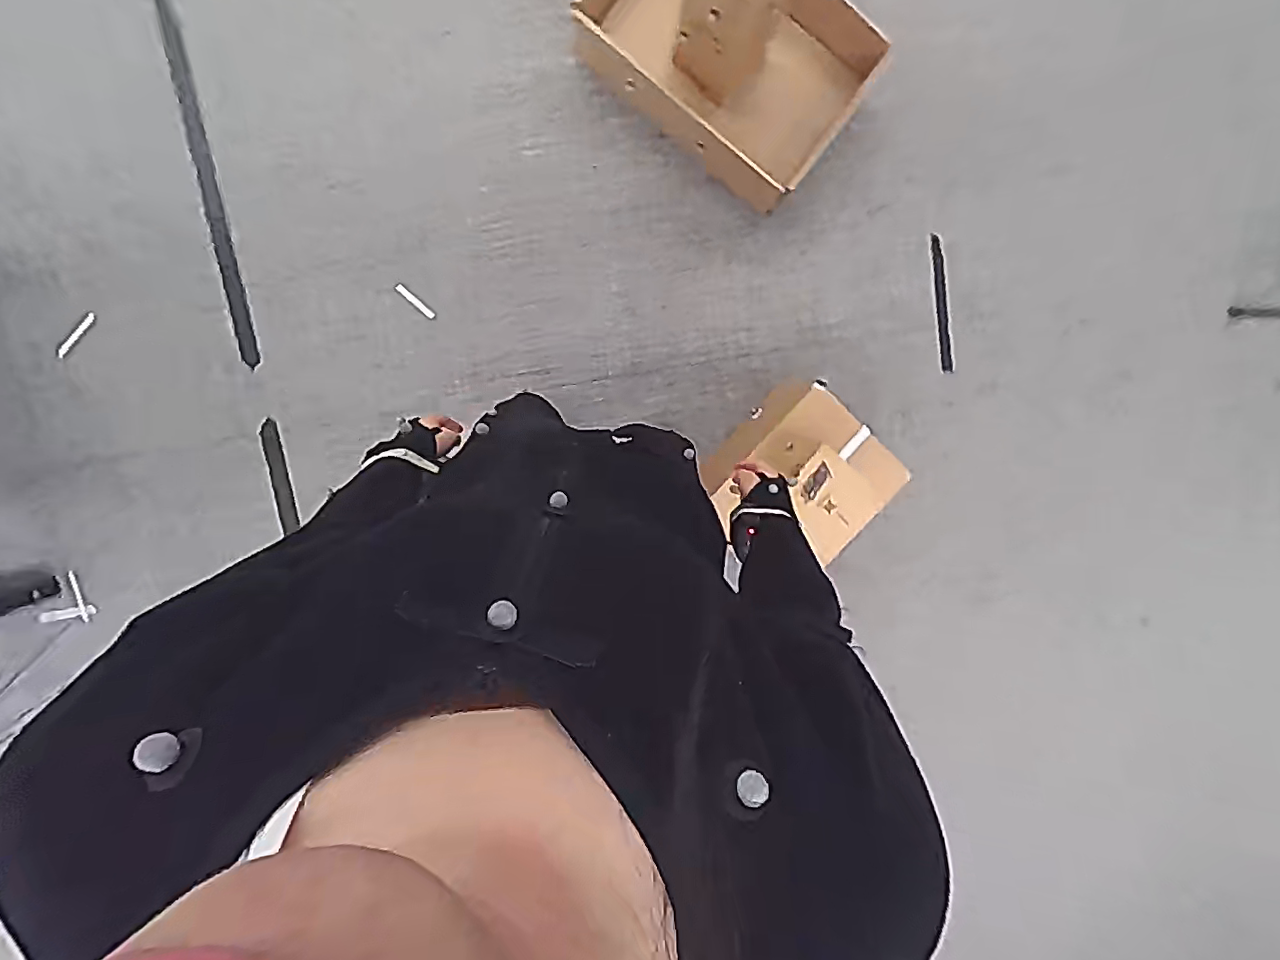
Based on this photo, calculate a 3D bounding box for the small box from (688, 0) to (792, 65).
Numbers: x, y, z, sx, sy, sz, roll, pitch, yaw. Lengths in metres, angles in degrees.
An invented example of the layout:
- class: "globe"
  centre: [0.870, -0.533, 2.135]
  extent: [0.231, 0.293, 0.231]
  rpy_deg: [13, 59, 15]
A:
- class: "small box"
  centre: [0.211, -0.991, 1.073]
  extent: [0.168, 0.176, 0.179]
  rpy_deg: [42, 94, -8]

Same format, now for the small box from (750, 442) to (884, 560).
- class: "small box"
  centre: [0.356, 0.034, 1.126]
  extent: [0.179, 0.176, 0.168]
  rpy_deg: [43, 95, -8]
